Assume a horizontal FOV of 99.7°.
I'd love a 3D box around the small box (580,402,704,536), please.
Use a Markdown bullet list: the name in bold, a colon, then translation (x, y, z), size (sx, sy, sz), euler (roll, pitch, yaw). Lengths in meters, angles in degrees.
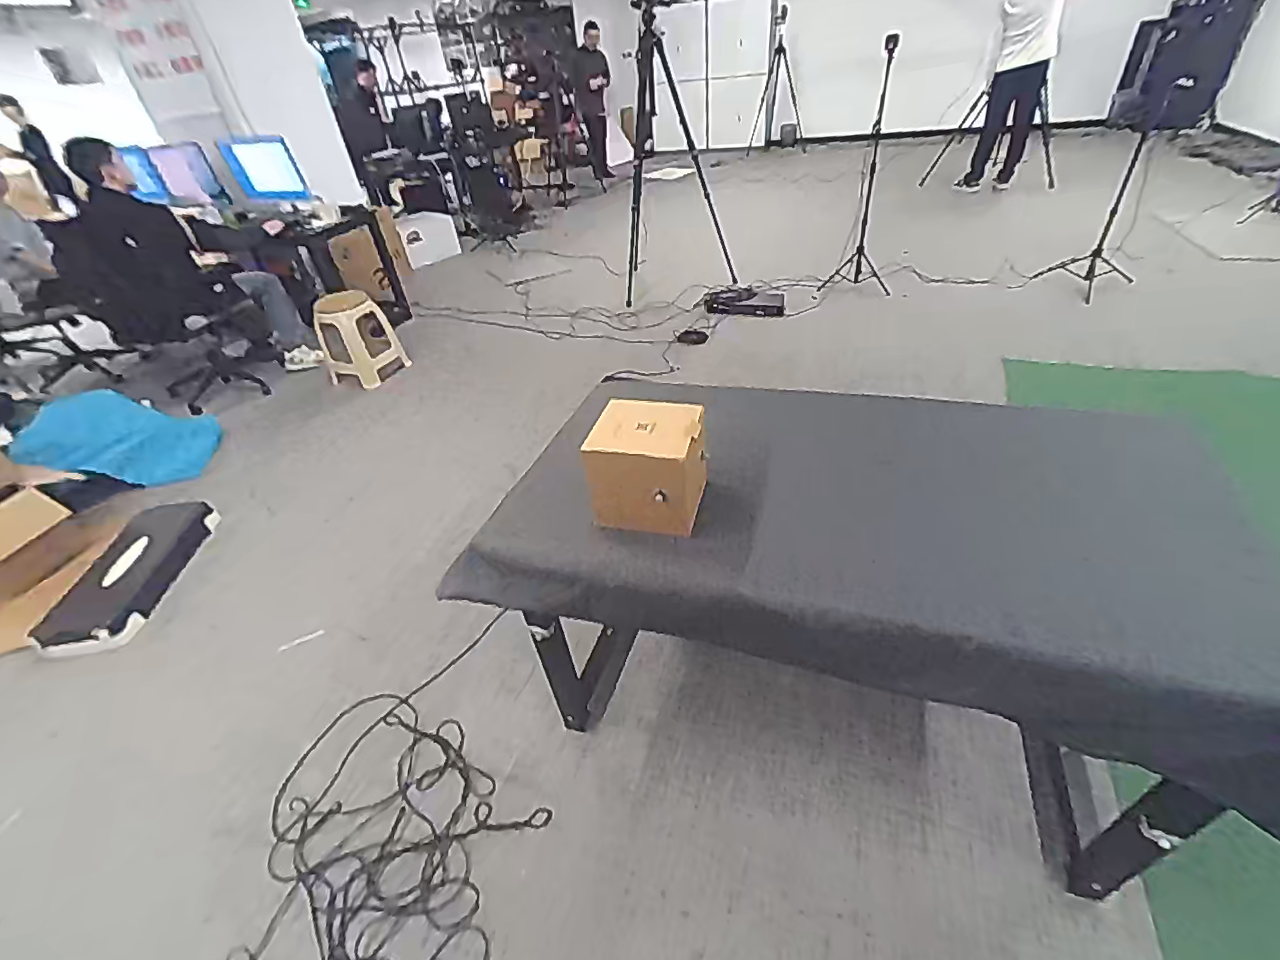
- **small box**: translation (0.014, -0.019, 0.948), size (0.179, 0.176, 0.168), euler (5, 38, 16)
